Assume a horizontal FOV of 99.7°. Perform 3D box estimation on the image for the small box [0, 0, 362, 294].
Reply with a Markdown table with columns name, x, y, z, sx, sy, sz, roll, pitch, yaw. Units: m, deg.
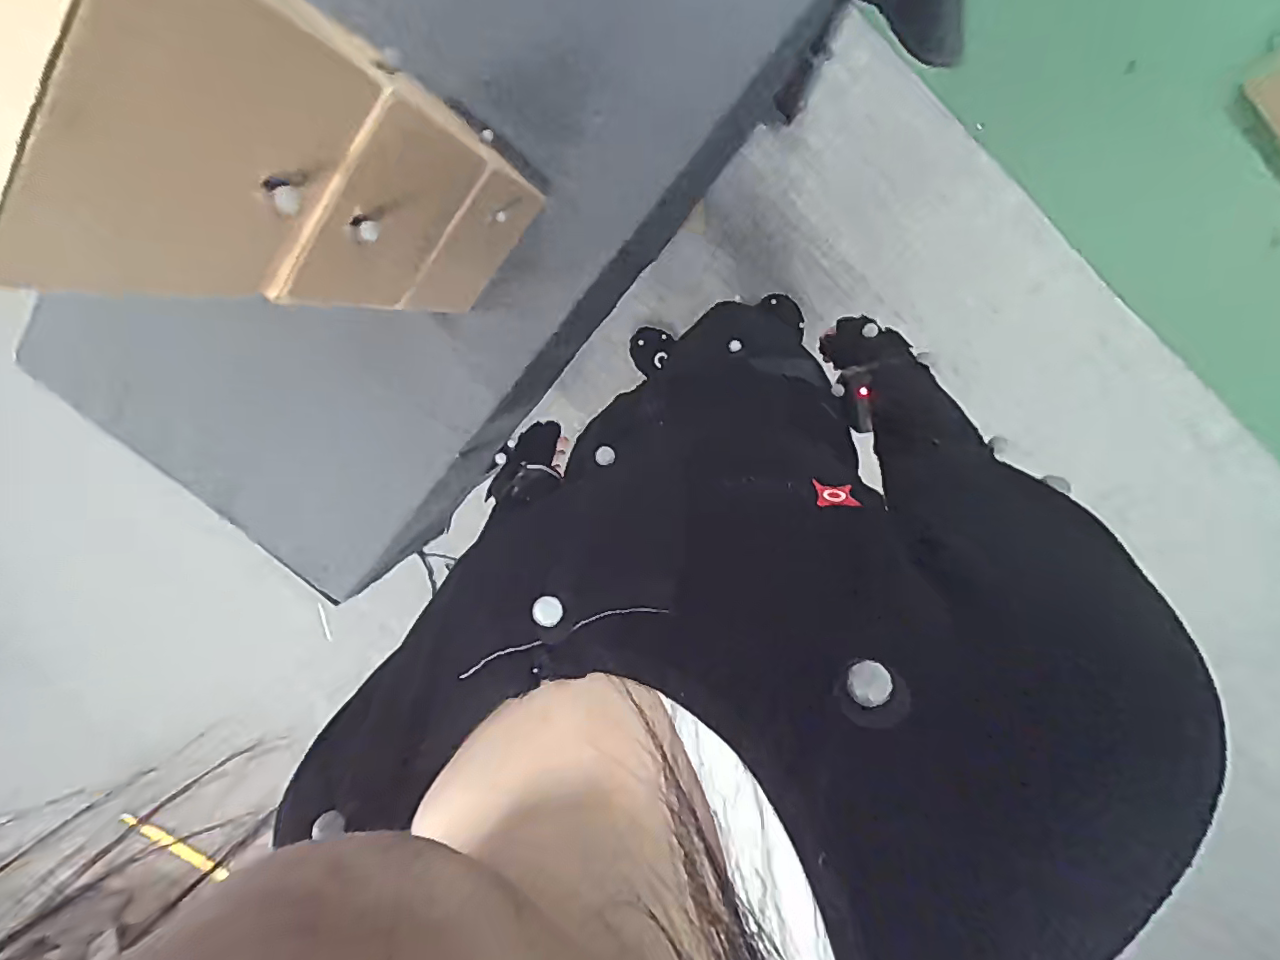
| name | x | y | z | sx | sy | sz | roll | pitch | yaw |
| --- | --- | --- | --- | --- | --- | --- | --- | --- | --- |
| small box | -0.289 | -0.224 | 0.290 | 0.168 | 0.176 | 0.179 | 42 | 107 | -6 |

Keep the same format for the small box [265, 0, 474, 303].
| name | x | y | z | sx | sy | sz | roll | pitch | yaw |
| --- | --- | --- | --- | --- | --- | --- | --- | --- | --- |
| small box | -0.263 | -0.269 | 0.445 | 0.168 | 0.176 | 0.179 | 40 | 108 | -5 |
